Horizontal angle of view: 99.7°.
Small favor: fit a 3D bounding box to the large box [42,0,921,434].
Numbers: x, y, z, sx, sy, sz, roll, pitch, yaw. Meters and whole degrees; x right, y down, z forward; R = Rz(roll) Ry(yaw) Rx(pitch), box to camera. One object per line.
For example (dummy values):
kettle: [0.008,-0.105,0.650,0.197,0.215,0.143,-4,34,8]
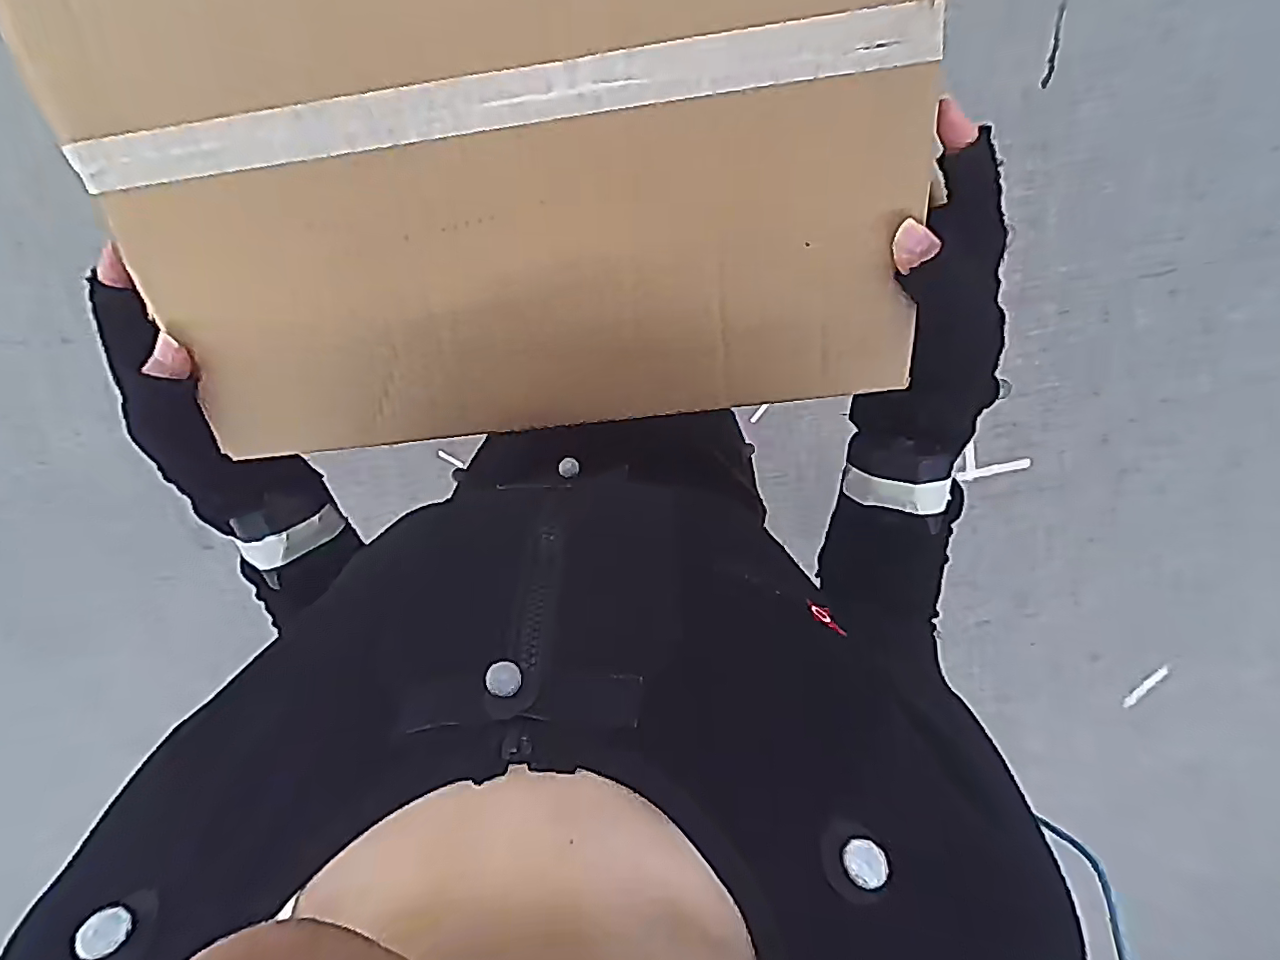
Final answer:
large box: [-0.068,-0.252,0.392,0.408,0.320,0.320,-6,117,5]
